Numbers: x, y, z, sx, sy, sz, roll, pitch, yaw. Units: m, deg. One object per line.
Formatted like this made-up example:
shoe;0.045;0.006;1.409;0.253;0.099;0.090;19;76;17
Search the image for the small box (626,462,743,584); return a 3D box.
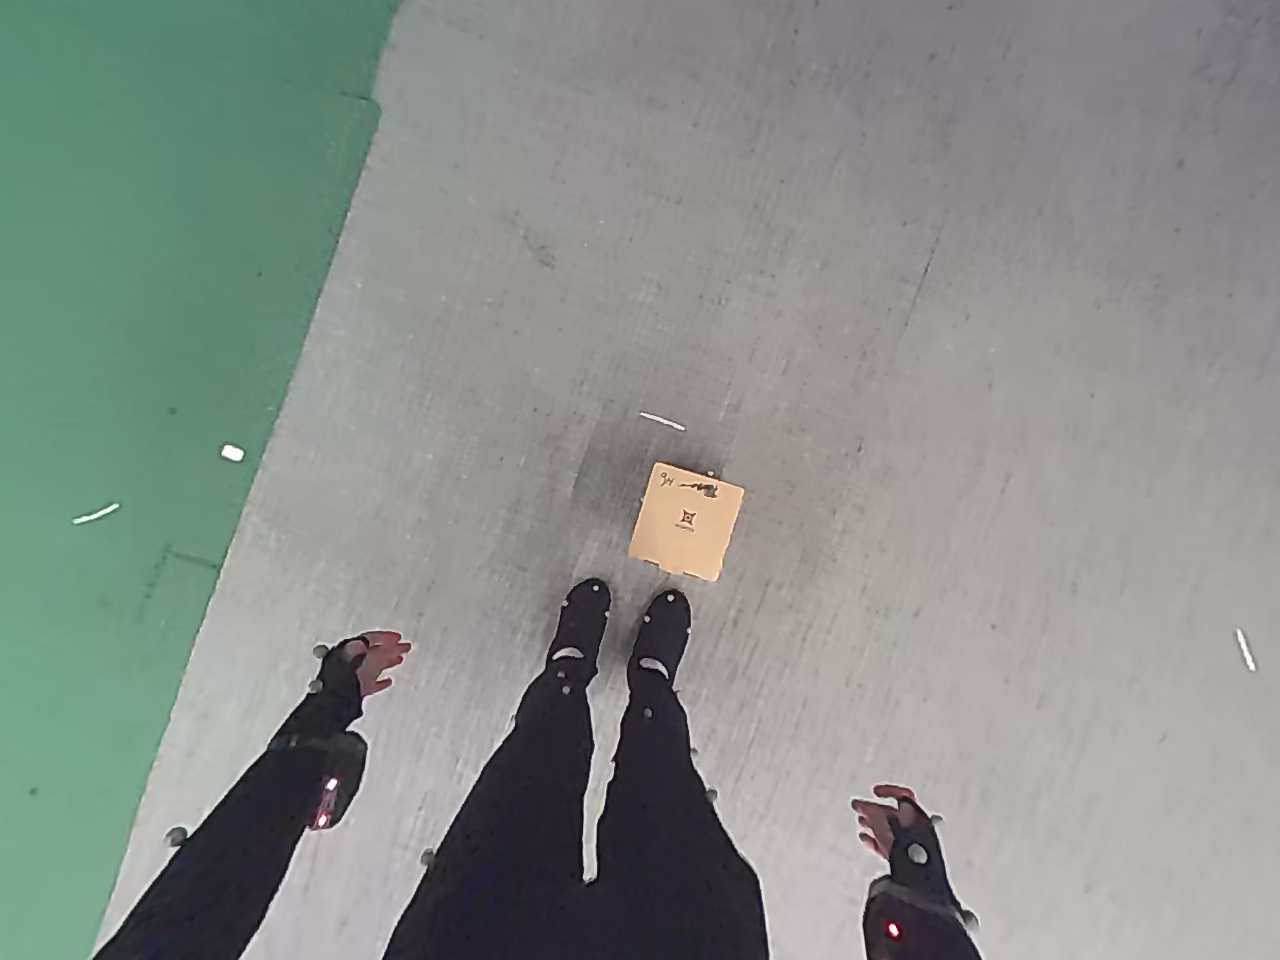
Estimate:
small box;0.082;0.073;1.017;0.168;0.176;0.179;18;91;2
